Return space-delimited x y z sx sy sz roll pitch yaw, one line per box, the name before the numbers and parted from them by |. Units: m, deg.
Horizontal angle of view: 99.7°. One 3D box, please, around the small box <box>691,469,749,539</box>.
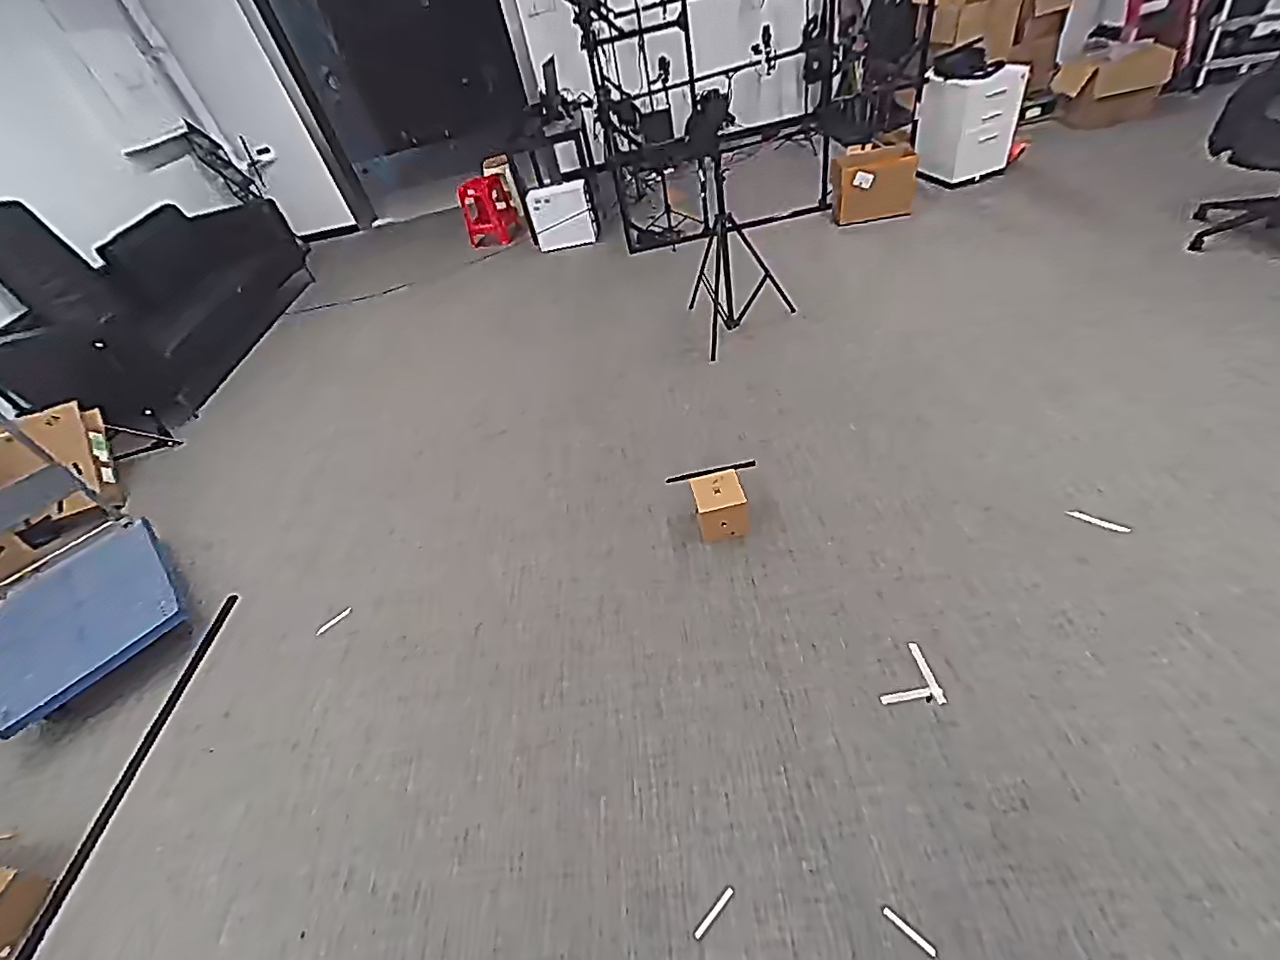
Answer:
small box | 0.286 0.093 1.920 0.168 0.176 0.179 -13 42 2
